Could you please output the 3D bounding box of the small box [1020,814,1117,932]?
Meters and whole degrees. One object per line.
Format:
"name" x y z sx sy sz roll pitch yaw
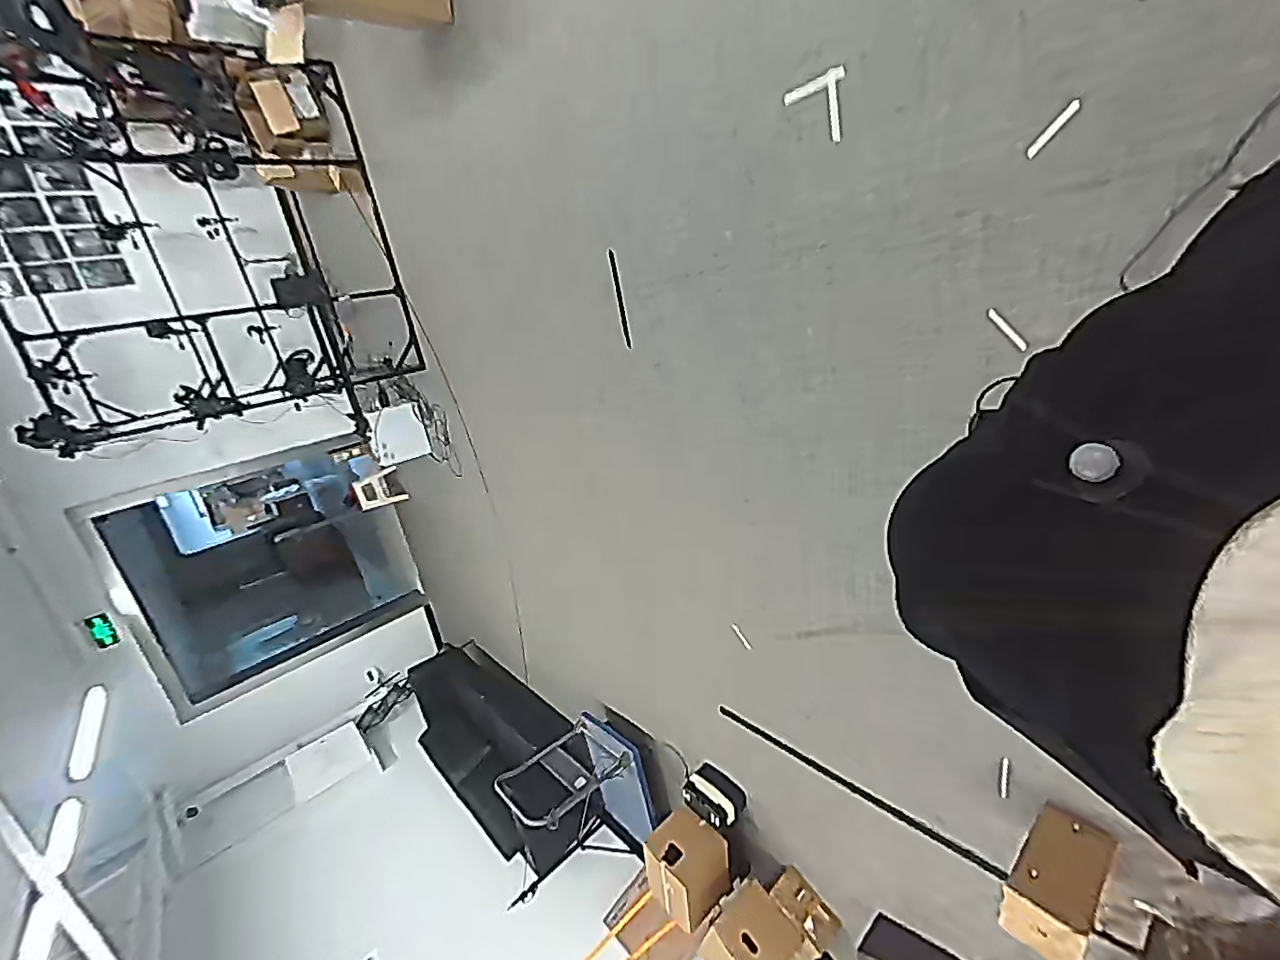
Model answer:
"small box" 1.182 1.073 1.501 0.179 0.176 0.168 15 121 49

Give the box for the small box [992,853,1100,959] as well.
"small box" 1.056 1.124 1.409 0.179 0.176 0.168 17 123 46
